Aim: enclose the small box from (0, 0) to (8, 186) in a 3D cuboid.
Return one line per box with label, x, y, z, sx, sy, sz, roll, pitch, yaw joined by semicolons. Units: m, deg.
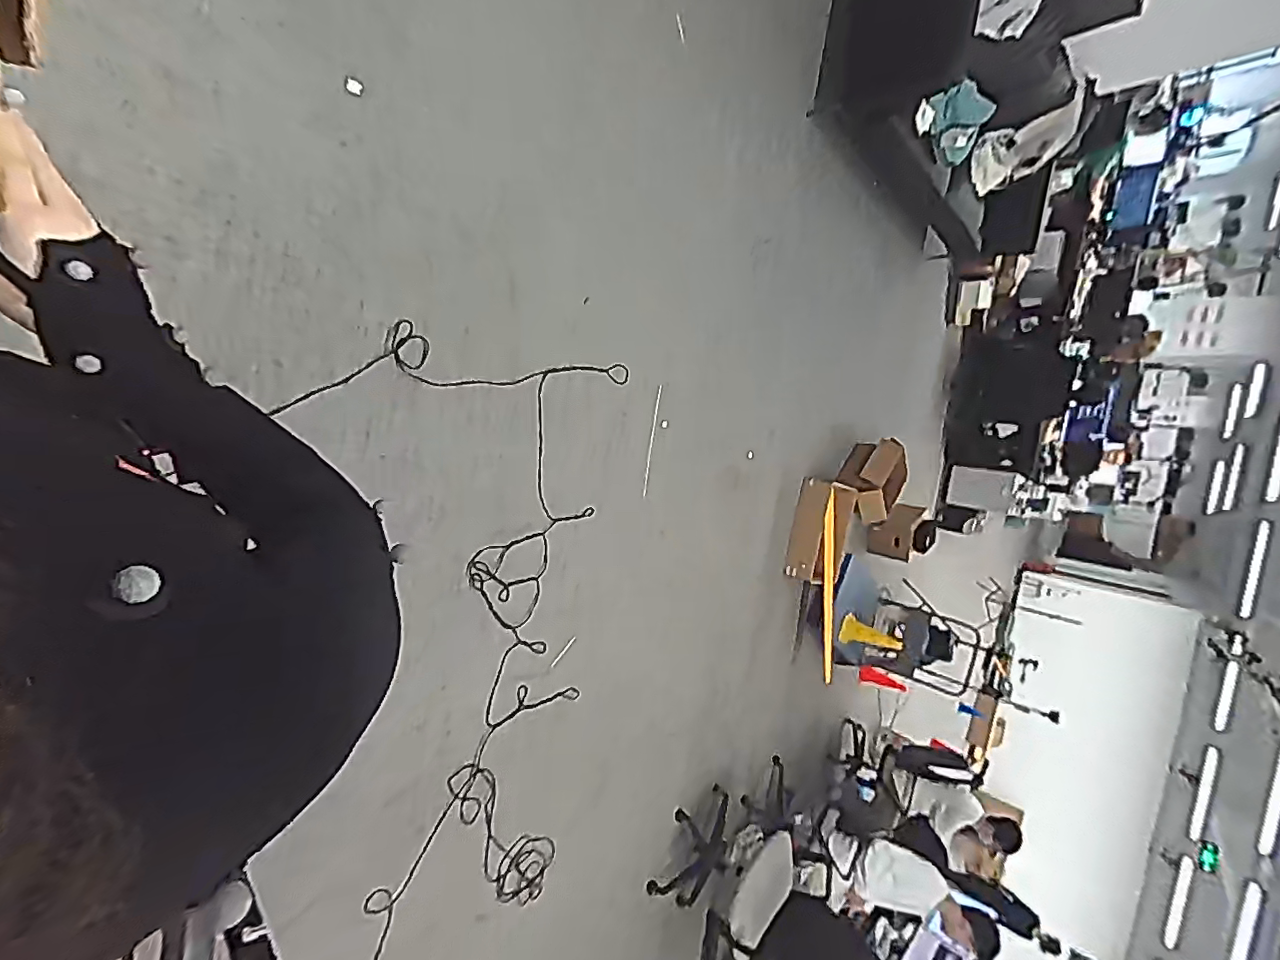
small box;-0.414;-0.244;0.236;0.179;0.176;0.168;-1;102;-51
